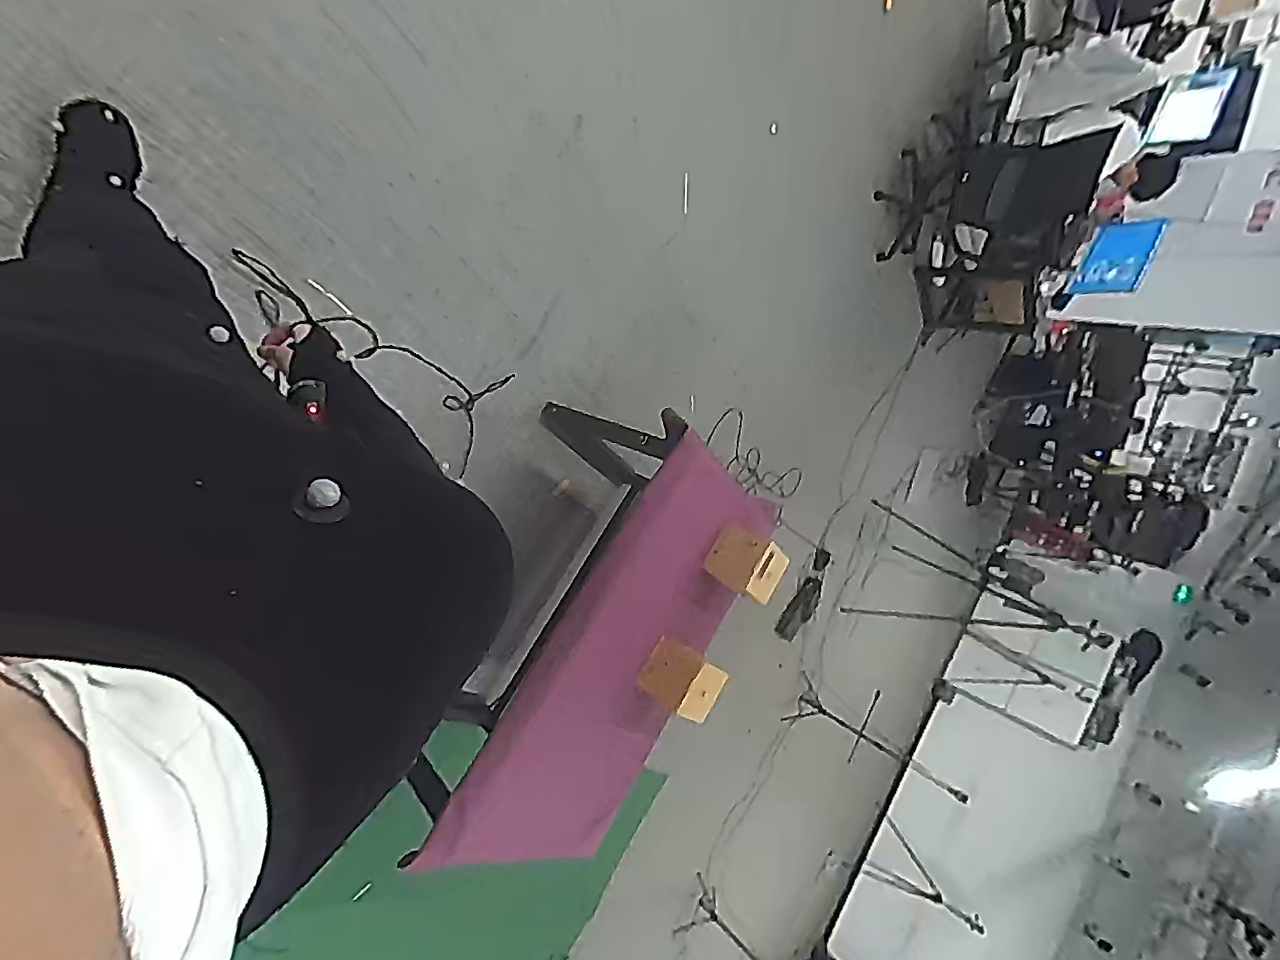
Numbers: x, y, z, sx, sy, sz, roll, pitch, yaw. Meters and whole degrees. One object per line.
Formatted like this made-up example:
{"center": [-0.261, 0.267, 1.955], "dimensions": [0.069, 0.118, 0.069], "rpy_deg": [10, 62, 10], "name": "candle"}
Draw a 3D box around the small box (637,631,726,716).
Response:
{"center": [0.125, 0.580, 1.633], "dimensions": [0.179, 0.176, 0.168], "rpy_deg": [42, 76, -46], "name": "small box"}
